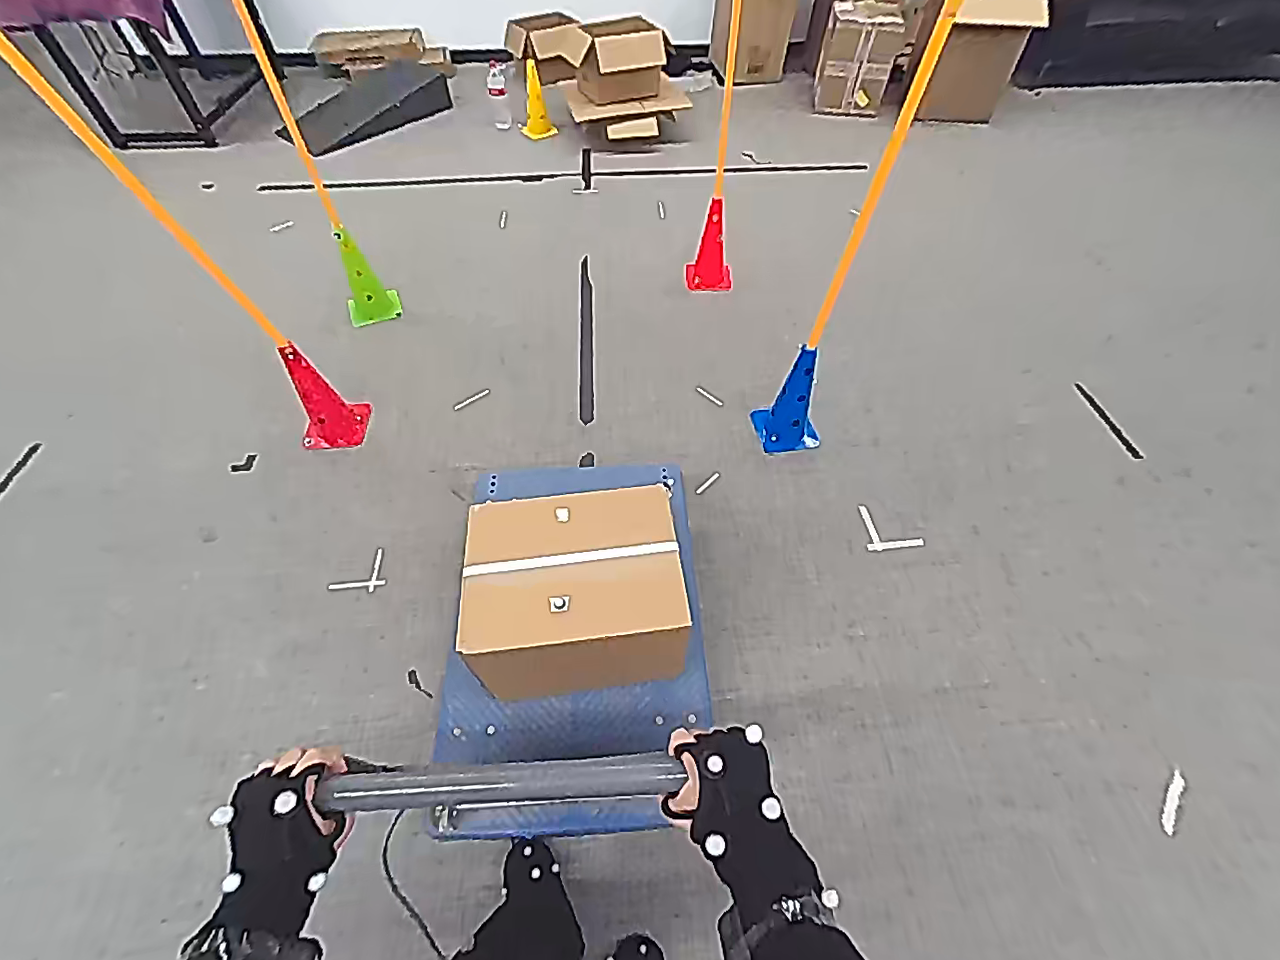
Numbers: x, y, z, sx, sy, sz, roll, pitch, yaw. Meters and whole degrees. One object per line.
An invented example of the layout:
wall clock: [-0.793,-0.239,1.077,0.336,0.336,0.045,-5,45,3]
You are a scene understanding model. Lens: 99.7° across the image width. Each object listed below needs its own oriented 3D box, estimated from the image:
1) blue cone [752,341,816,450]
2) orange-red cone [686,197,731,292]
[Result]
blue cone: [0.502,-0.281,1.755,0.193,0.380,0.192,-6,52,-5]
orange-red cone: [0.309,-1.003,2.276,0.199,0.360,0.198,3,54,1]
